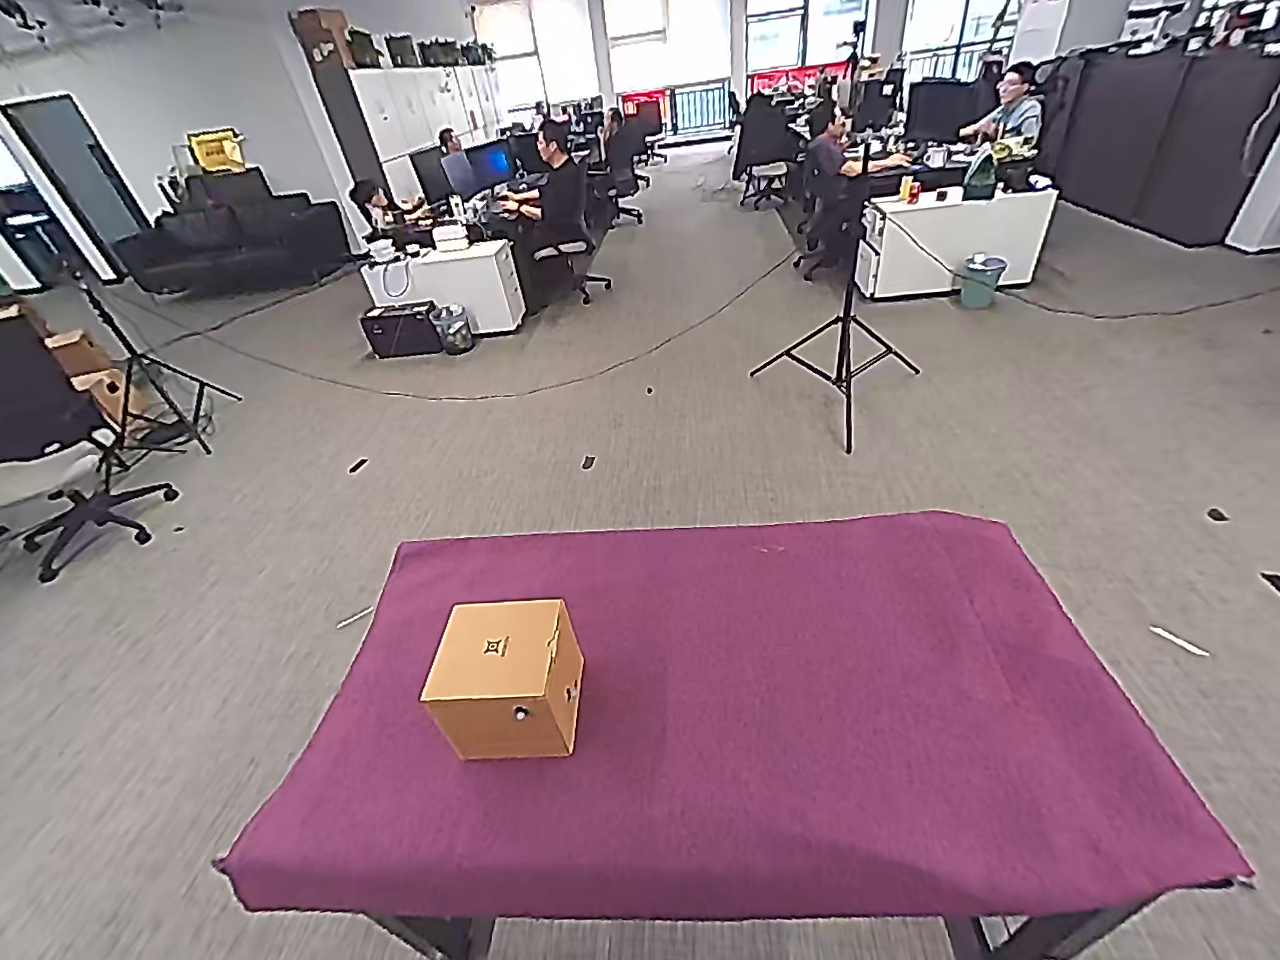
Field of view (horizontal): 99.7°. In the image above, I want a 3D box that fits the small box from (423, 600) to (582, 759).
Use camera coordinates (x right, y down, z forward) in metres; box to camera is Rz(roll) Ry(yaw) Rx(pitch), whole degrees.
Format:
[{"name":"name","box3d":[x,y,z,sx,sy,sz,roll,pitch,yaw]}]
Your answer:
[{"name":"small box","box3d":[-0.195,0.306,0.825,0.179,0.176,0.168,-5,37,4]}]
